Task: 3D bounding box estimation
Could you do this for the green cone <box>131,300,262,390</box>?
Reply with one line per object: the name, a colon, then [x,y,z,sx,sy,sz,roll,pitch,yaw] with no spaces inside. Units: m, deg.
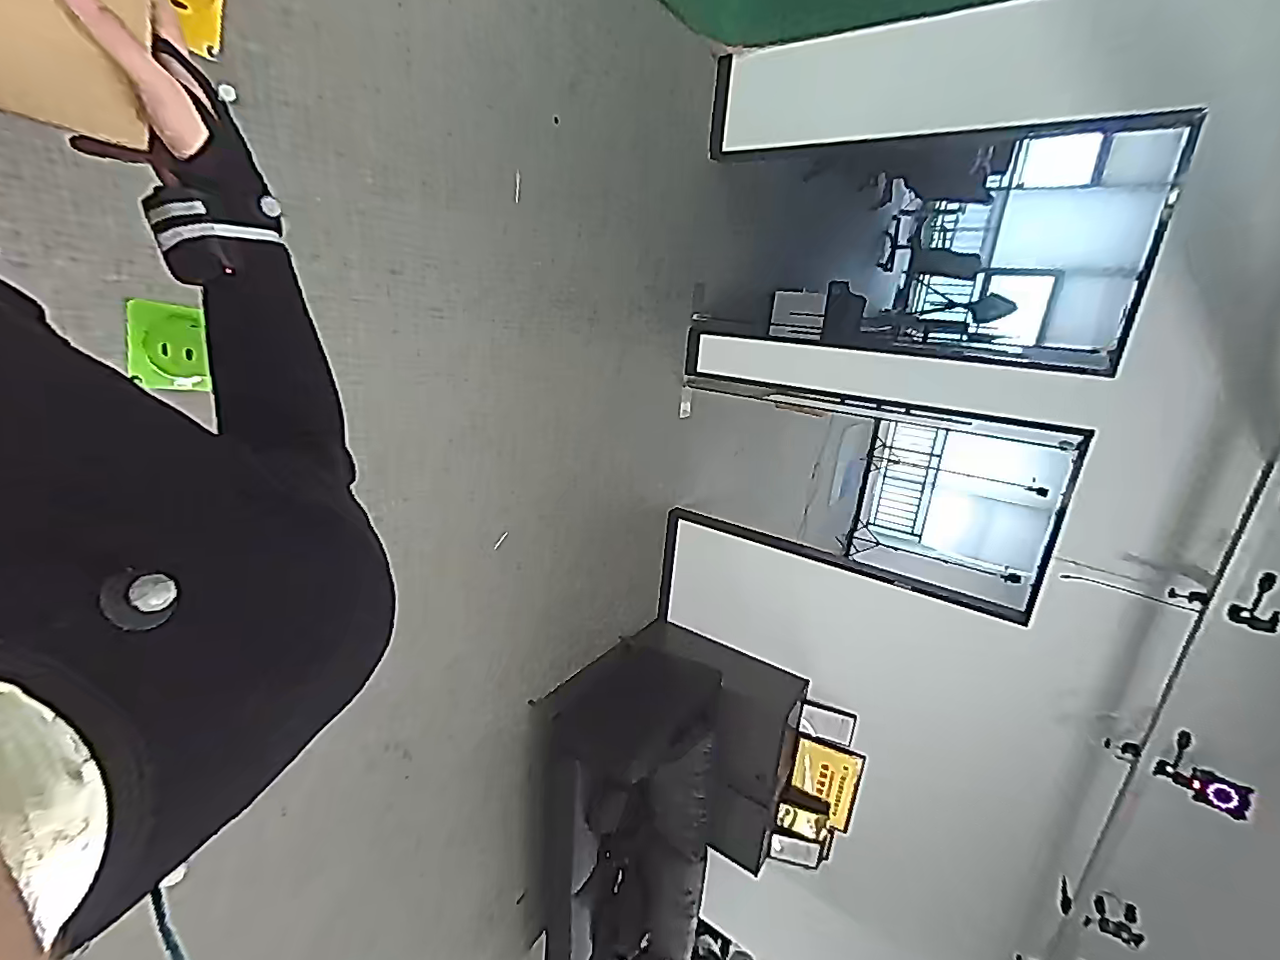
green cone: [-0.957,-0.285,1.224,0.200,0.368,0.202,-10,111,-57]
